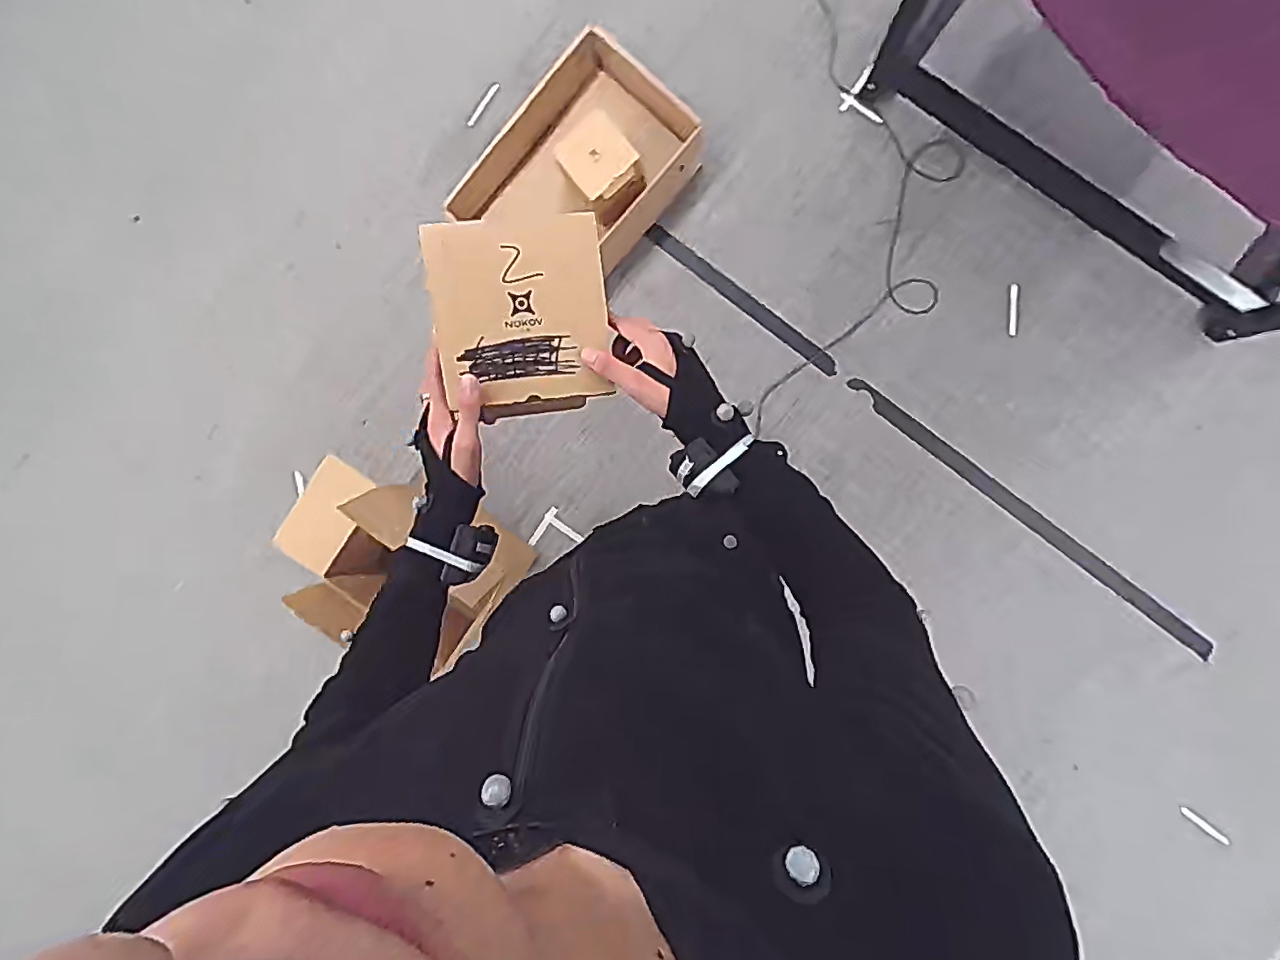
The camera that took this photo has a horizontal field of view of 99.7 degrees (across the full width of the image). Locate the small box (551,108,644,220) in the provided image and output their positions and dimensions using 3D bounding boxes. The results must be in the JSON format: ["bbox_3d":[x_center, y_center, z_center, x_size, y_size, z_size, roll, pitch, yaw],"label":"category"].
[{"bbox_3d":[-0.105,-0.827,1.444,0.168,0.176,0.179,-39,89,7],"label":"small box"}]
